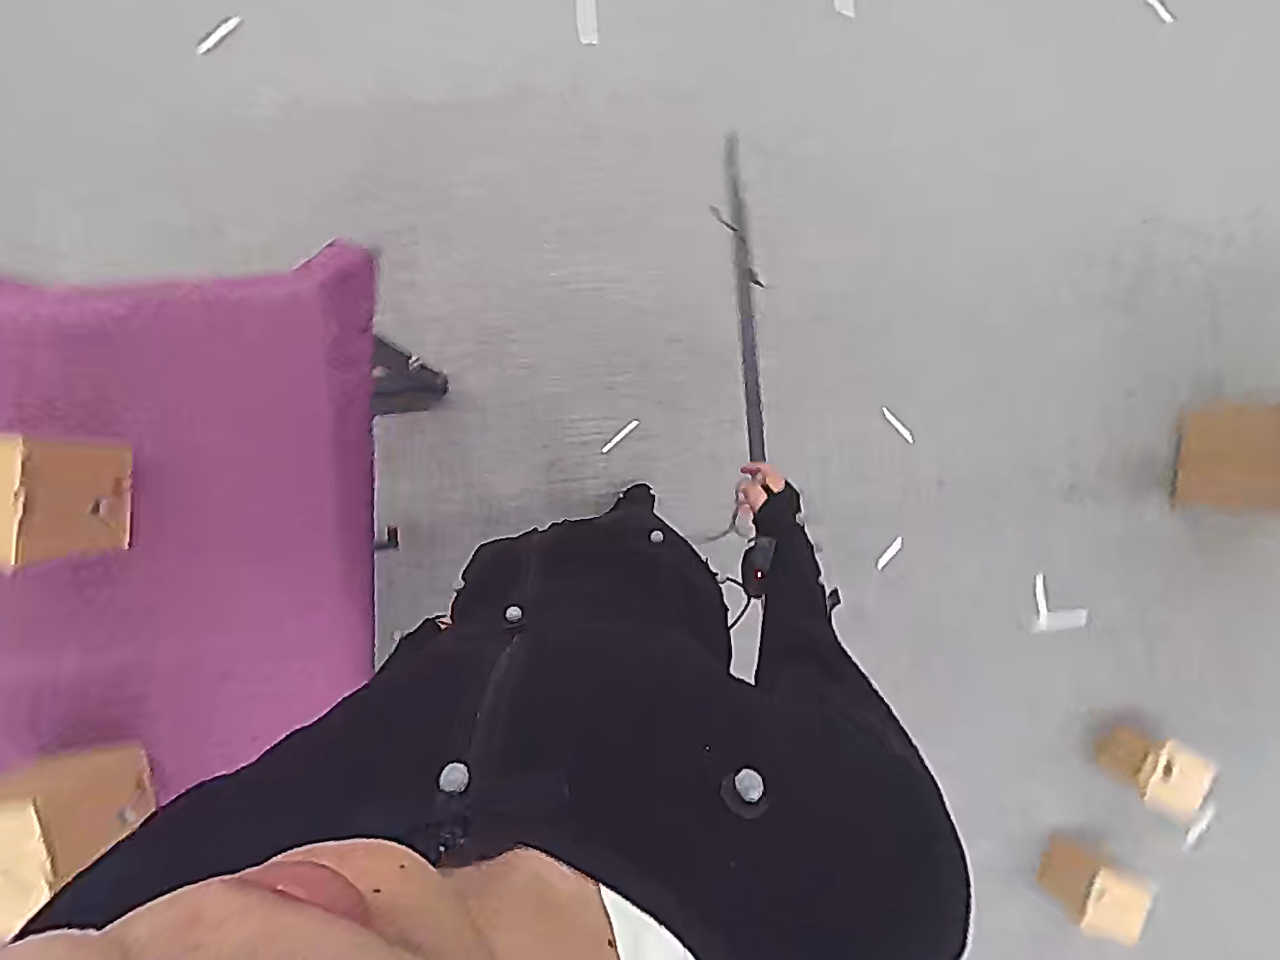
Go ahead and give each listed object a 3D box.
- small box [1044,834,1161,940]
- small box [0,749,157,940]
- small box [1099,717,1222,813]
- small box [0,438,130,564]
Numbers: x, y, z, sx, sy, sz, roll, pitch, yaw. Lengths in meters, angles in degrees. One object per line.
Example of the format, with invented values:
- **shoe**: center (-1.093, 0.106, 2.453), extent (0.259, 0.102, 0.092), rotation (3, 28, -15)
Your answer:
- **small box**: center (1.347, 1.184, 1.586), extent (0.179, 0.176, 0.168), rotation (19, 88, -3)
- **small box**: center (-0.855, 0.513, 0.772), extent (0.179, 0.176, 0.168), rotation (-9, 90, -3)
- **small box**: center (1.527, 0.831, 1.598), extent (0.179, 0.176, 0.168), rotation (26, 88, -2)
- **small box**: center (-0.901, 0.027, 0.778), extent (0.179, 0.176, 0.168), rotation (1, 90, -4)
